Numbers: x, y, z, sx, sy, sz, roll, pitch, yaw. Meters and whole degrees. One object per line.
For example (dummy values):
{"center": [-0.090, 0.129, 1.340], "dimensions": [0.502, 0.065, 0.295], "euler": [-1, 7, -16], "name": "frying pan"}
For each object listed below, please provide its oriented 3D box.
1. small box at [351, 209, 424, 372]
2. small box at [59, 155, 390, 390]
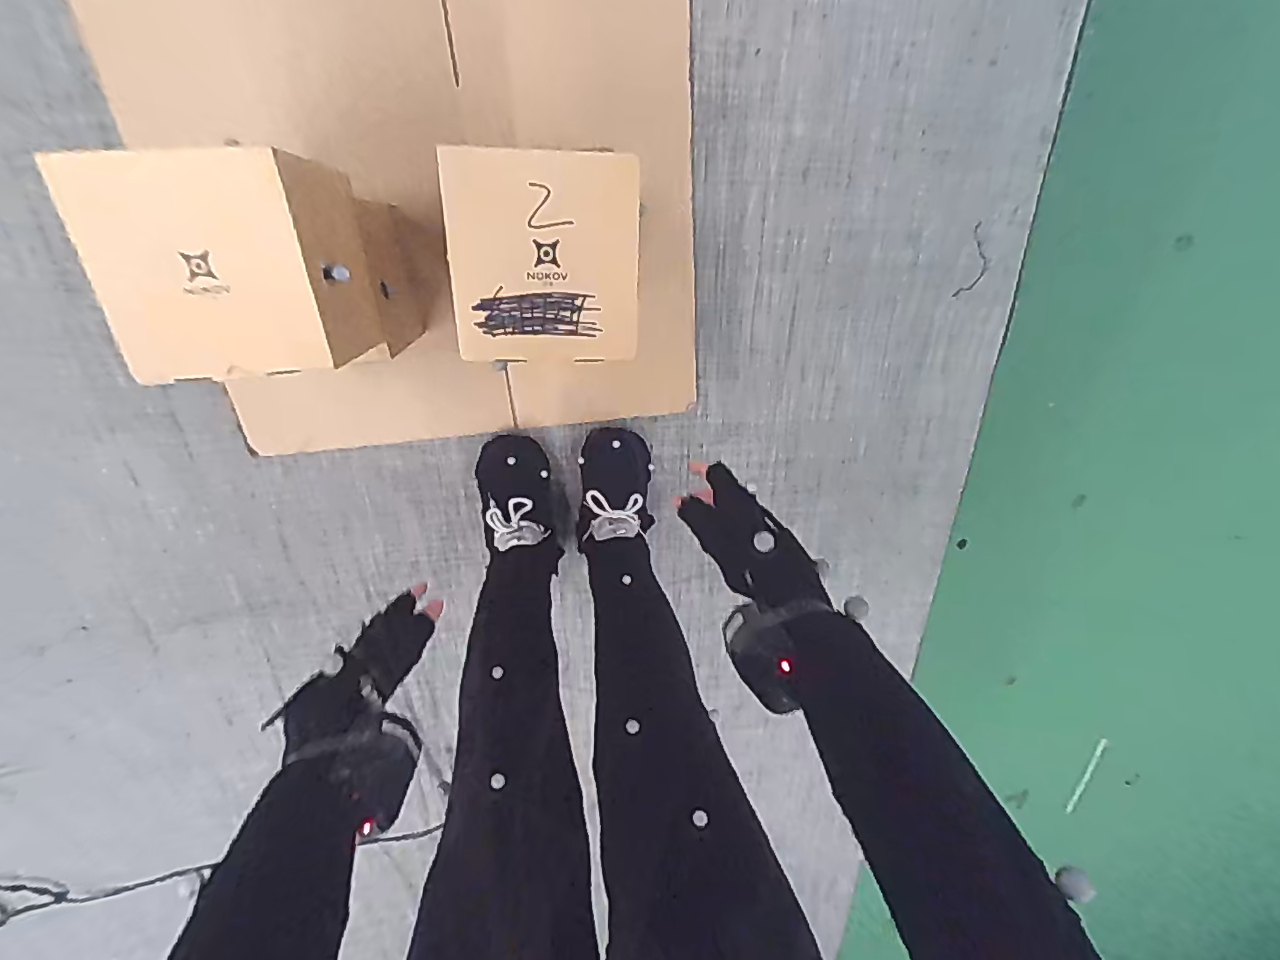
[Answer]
{"center": [-0.387, -0.237, 0.675], "dimensions": [0.168, 0.176, 0.179], "euler": [-9, 115, -5], "name": "small box"}
{"center": [-0.361, -0.196, 0.517], "dimensions": [0.168, 0.176, 0.179], "euler": [-6, 115, -6], "name": "small box"}
